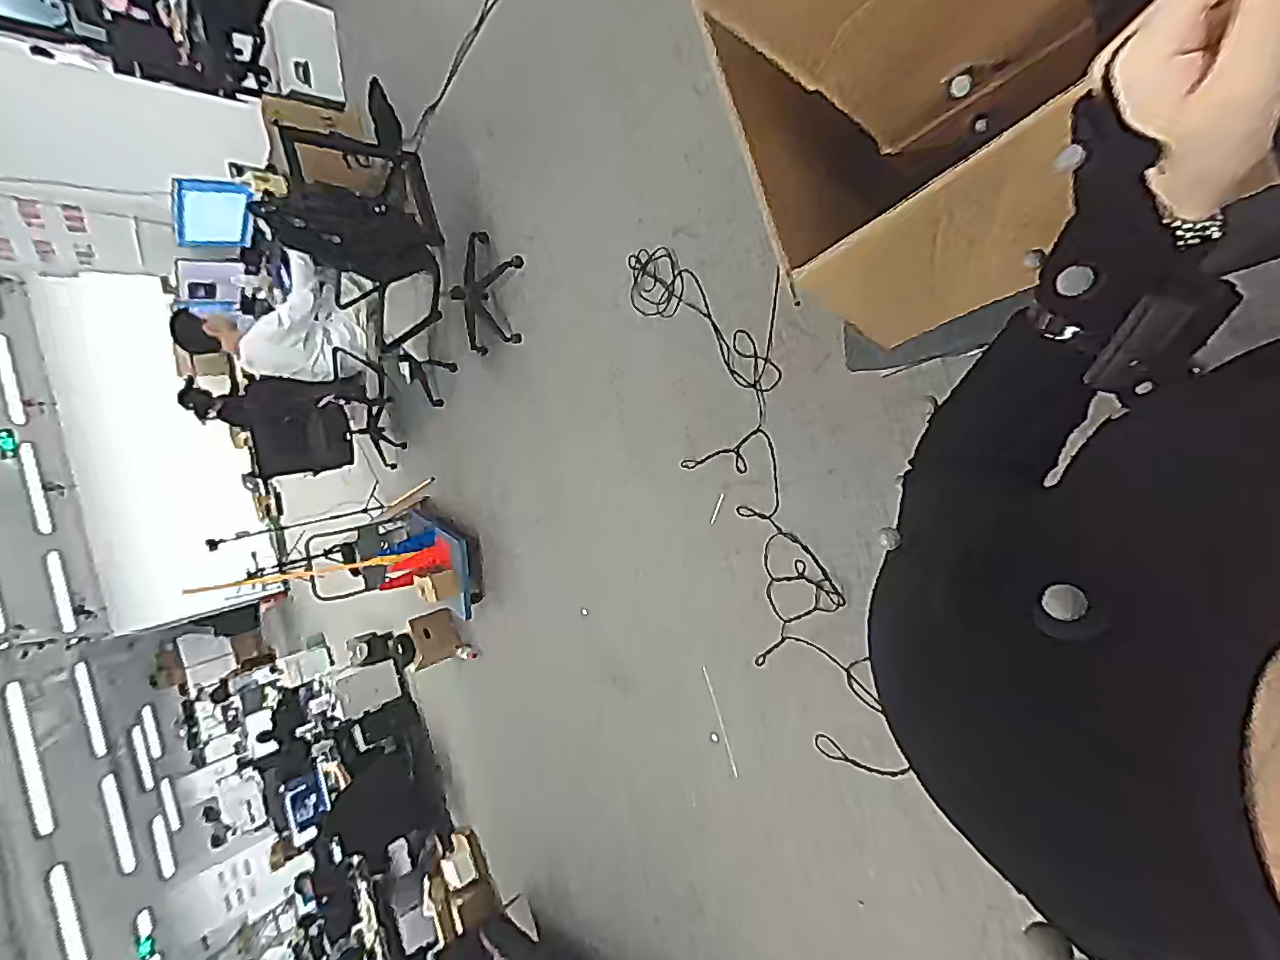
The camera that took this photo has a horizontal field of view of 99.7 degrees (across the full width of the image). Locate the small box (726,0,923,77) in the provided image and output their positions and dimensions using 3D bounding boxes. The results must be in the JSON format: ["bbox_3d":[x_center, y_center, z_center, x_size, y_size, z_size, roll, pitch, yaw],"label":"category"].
[{"bbox_3d":[0.125,-0.400,0.327,0.179,0.176,0.168,-17,87,44],"label":"small box"}]
